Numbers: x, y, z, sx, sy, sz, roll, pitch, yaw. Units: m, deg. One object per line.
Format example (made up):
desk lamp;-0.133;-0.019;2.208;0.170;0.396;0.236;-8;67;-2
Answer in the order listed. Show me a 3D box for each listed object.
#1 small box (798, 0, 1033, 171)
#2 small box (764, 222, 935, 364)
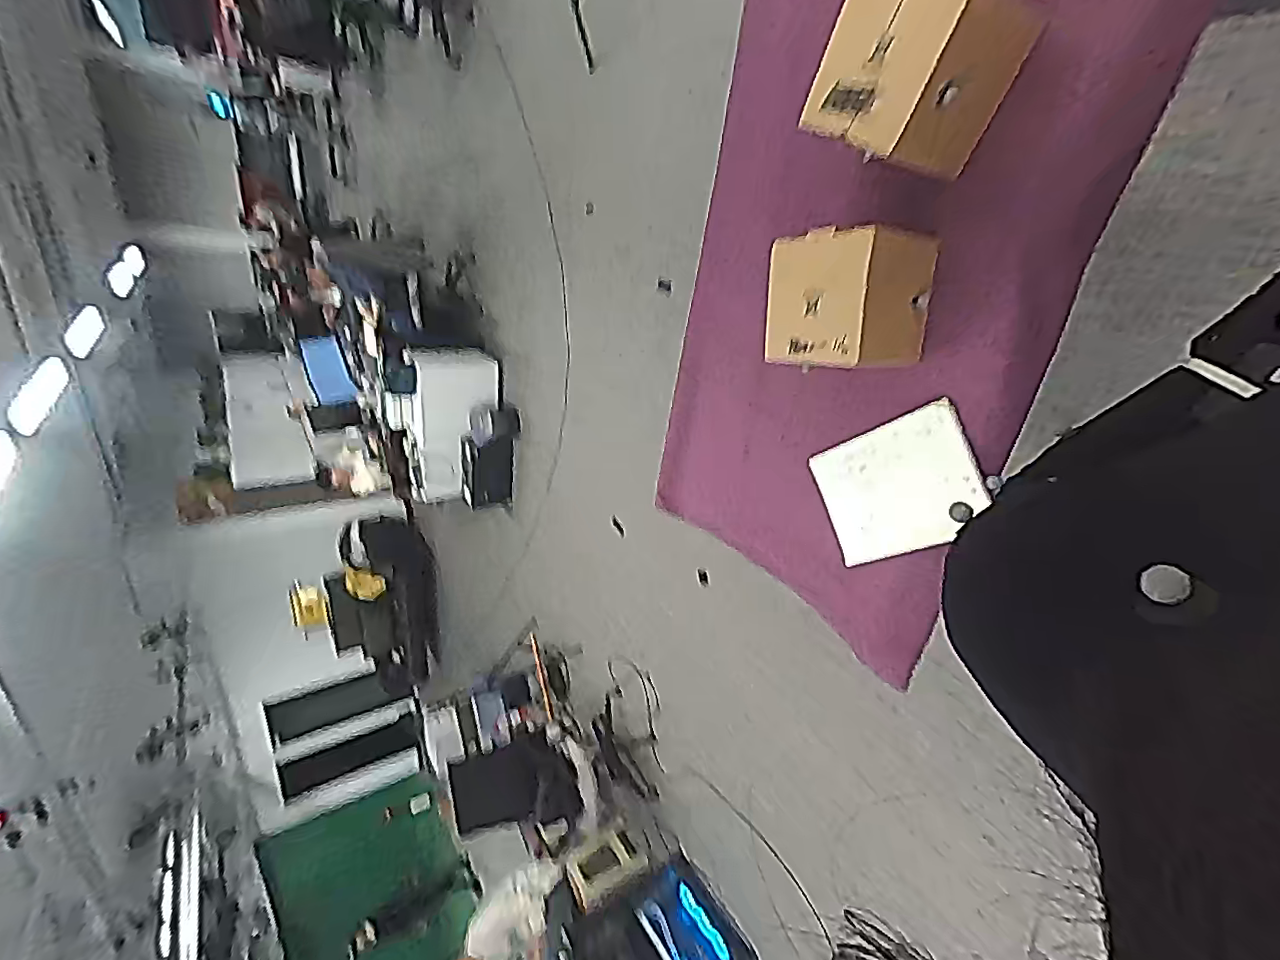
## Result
small box;0.344;-0.518;0.686;0.168;0.176;0.179;52;137;36
small box;0.310;-0.267;0.804;0.168;0.176;0.179;21;115;52
